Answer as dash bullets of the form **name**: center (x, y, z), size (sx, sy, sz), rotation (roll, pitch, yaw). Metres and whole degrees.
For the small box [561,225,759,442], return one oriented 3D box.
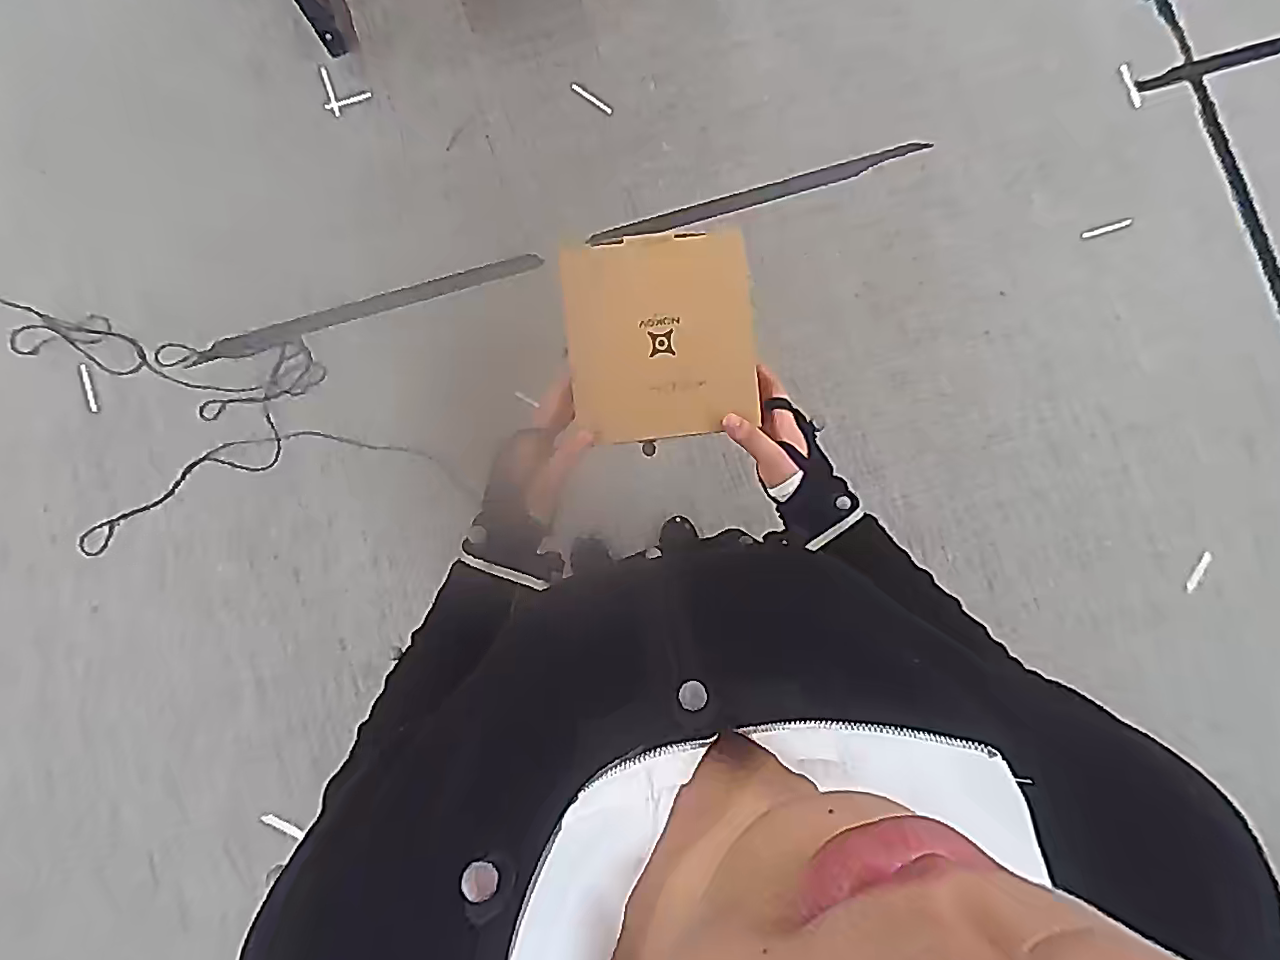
- **small box**: center (0.014, -0.135, 0.557), size (0.168, 0.176, 0.179), rotation (-7, 94, -2)
